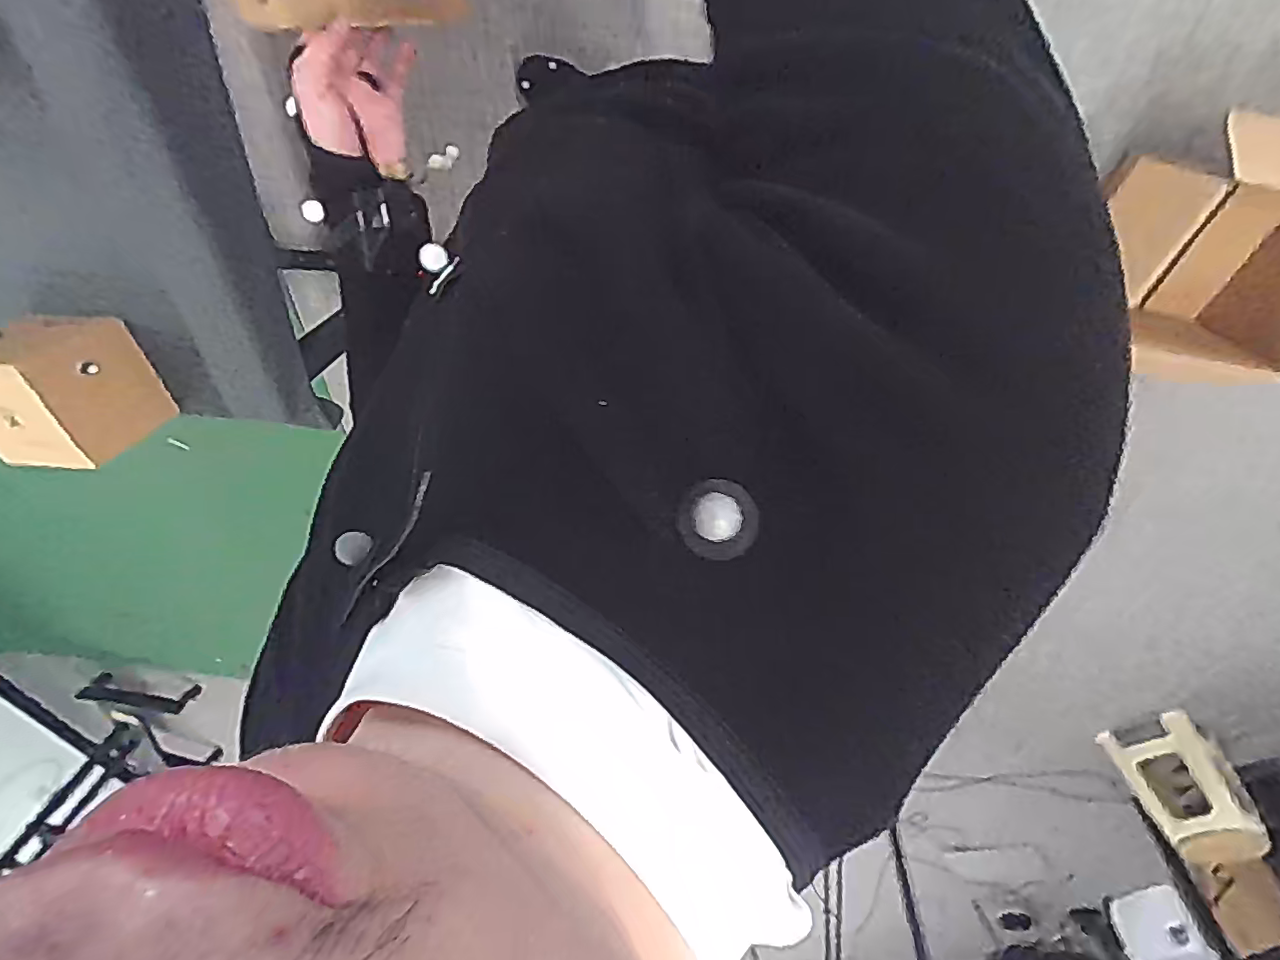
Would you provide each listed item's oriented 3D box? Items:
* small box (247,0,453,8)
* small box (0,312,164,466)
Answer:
[{"bbox_3d":[-0.243,-0.499,0.405,0.179,0.176,0.168,-14,157,-13],"label":"small box"},{"bbox_3d":[-0.897,-0.142,0.817,0.168,0.176,0.179,3,130,6],"label":"small box"}]
